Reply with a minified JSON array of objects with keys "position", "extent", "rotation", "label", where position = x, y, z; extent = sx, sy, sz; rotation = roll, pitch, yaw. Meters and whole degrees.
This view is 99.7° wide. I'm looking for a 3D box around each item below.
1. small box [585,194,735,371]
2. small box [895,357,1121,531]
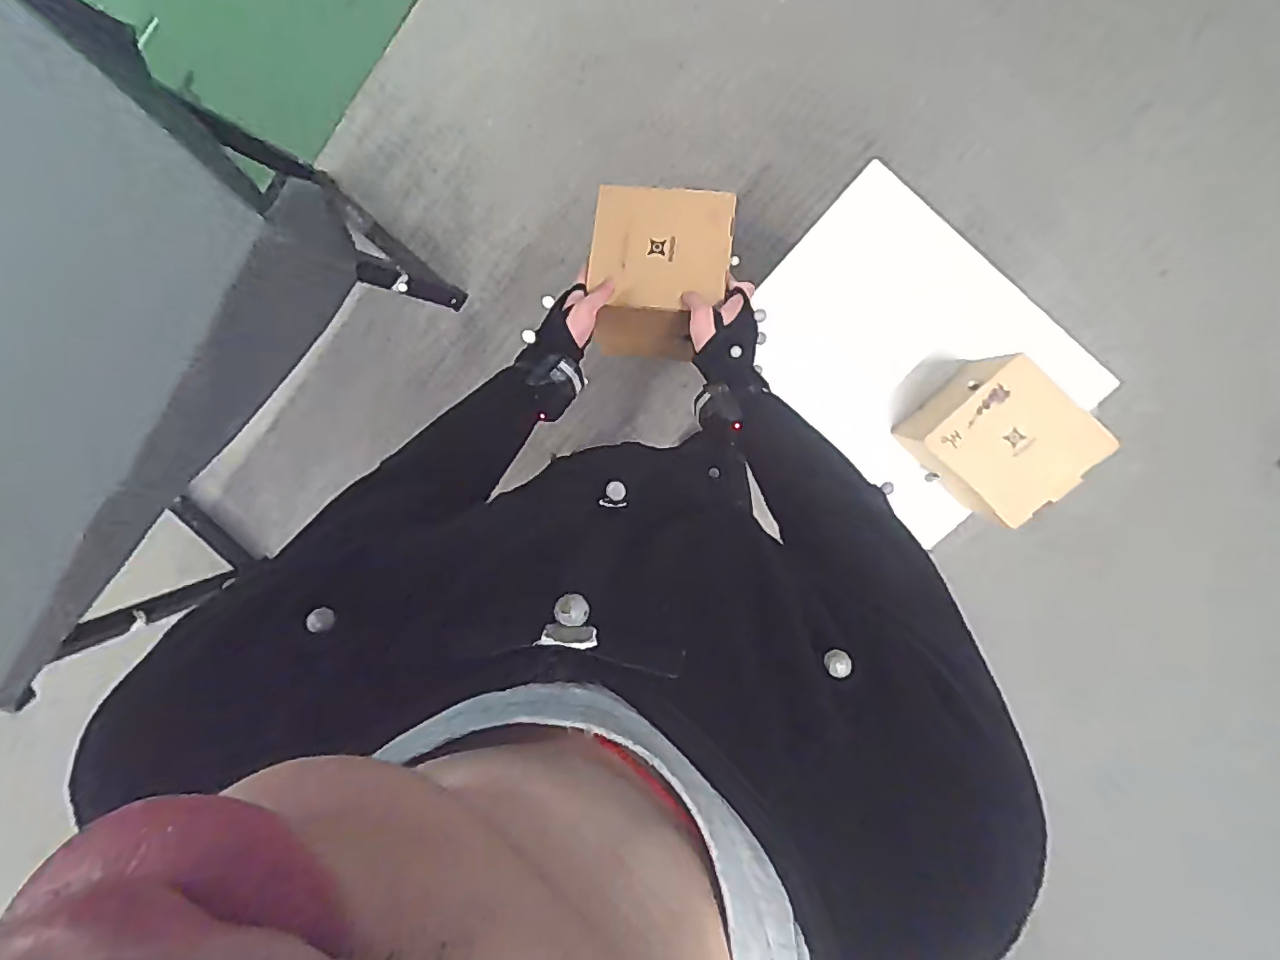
[{"position":[0.030,-0.258,0.735],"extent":[0.179,0.176,0.168],"rotation":[3,79,5],"label":"small box"},{"position":[0.514,-0.058,0.787],"extent":[0.179,0.176,0.168],"rotation":[44,101,0],"label":"small box"}]
